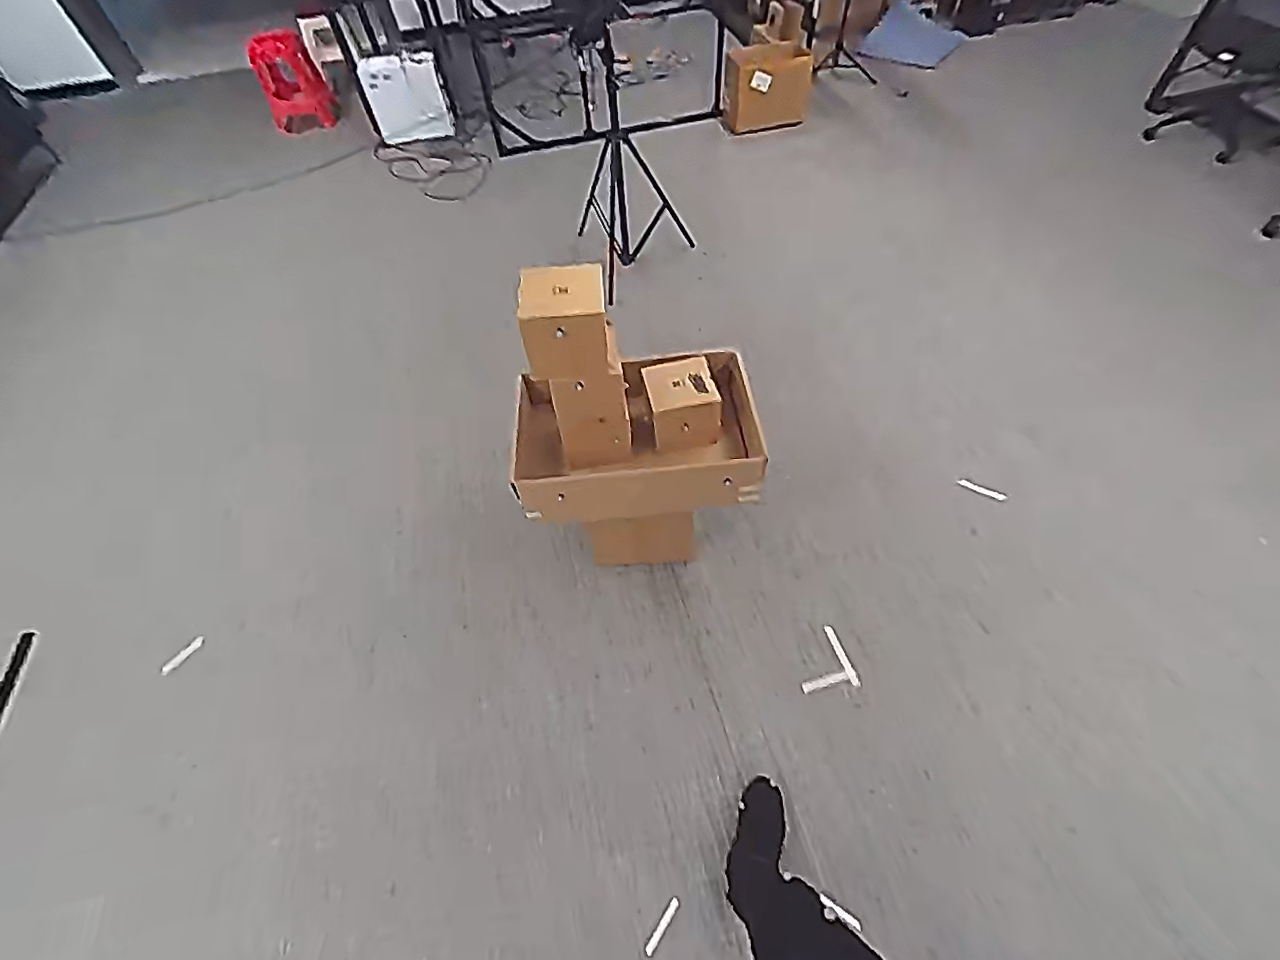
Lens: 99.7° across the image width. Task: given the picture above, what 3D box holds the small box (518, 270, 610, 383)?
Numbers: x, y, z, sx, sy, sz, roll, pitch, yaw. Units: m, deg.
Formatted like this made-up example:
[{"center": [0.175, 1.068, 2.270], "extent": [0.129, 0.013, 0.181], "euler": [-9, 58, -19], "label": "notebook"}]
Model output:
[{"center": [-0.157, -0.328, 1.168], "extent": [0.179, 0.176, 0.168], "euler": [-5, 54, -1], "label": "small box"}]

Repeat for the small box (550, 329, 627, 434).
[{"center": [-0.125, -0.235, 1.301], "extent": [0.168, 0.176, 0.179], "euler": [-8, 54, -2], "label": "small box"}]
